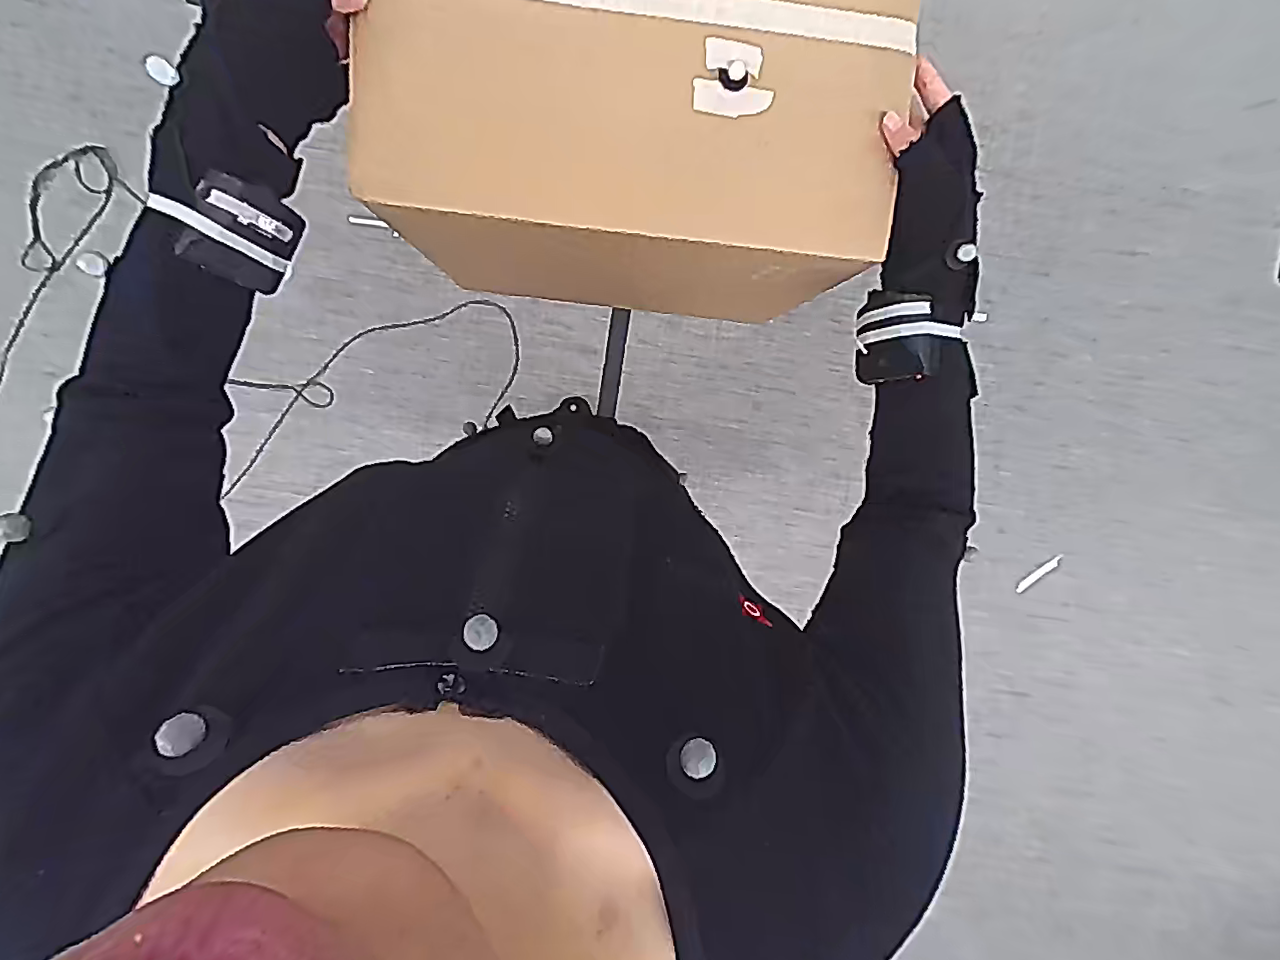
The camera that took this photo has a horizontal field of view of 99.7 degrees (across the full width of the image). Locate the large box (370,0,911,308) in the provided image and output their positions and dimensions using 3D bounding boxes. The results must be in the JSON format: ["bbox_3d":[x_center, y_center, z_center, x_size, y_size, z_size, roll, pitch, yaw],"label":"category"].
[{"bbox_3d":[-0.006,-0.374,0.546,0.408,0.320,0.320,5,98,-5],"label":"large box"}]
